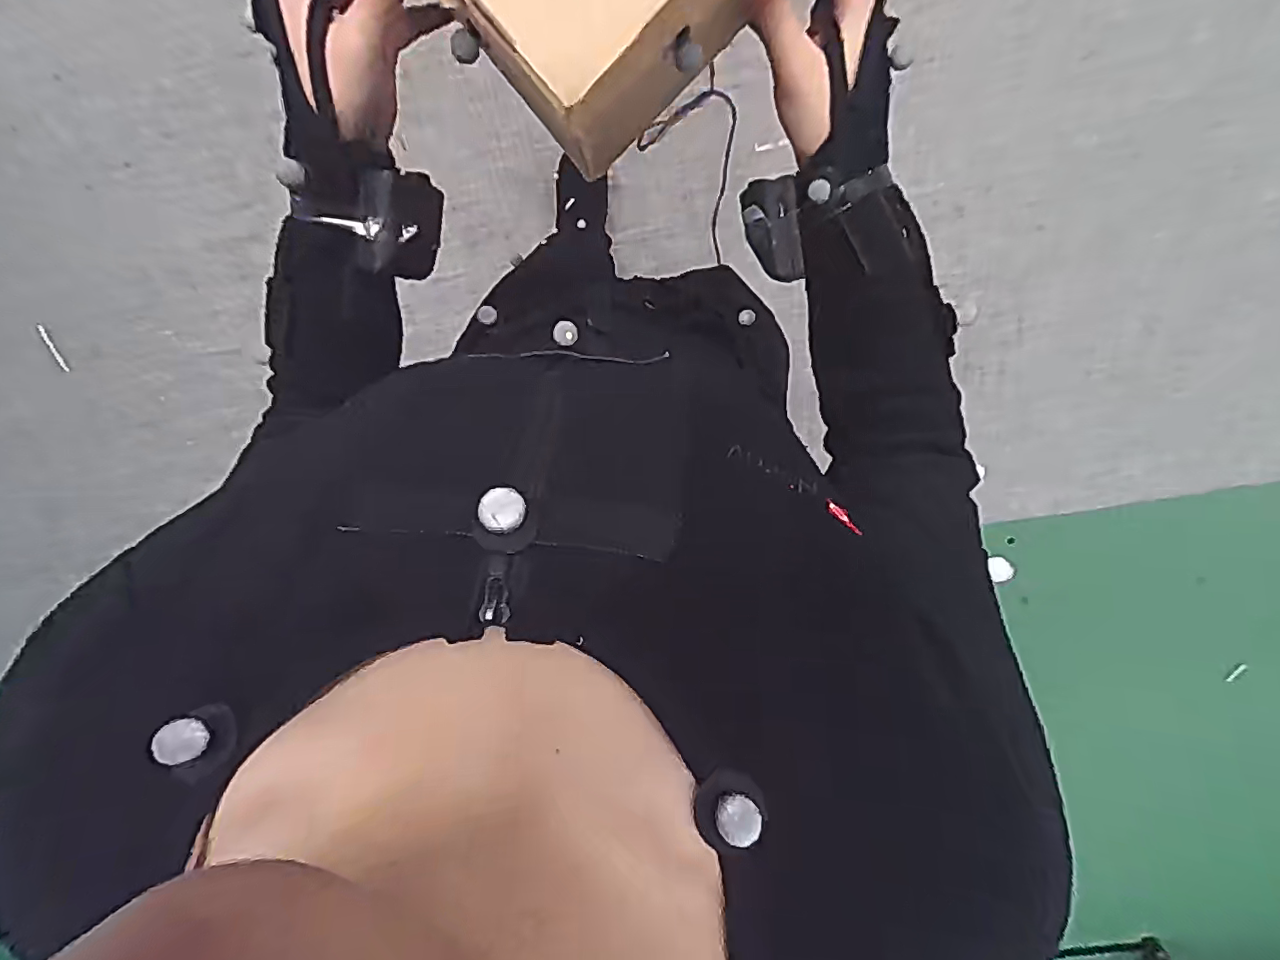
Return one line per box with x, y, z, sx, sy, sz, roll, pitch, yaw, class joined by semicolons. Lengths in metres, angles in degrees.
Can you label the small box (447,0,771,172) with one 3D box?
-0.022;-0.292;0.271;0.179;0.176;0.168;-40;106;14;small box
